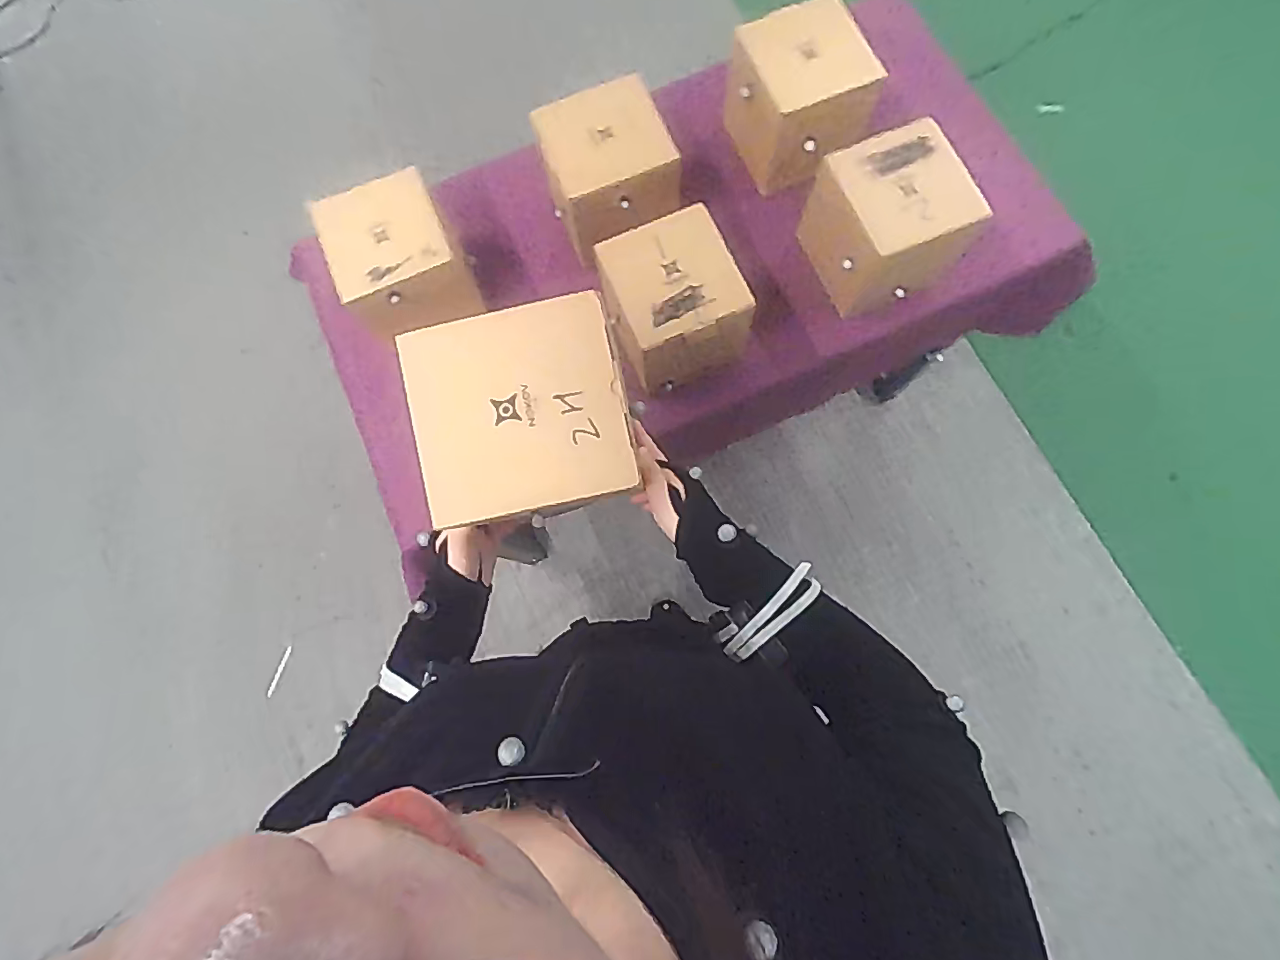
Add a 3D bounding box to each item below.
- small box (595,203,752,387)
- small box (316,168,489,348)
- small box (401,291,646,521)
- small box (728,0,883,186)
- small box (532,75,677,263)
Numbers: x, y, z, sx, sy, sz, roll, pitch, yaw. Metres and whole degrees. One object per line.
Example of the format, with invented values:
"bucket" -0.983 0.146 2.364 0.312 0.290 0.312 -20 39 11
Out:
"small box" 0.050 -0.258 0.804 0.168 0.176 0.179 -23 76 -2
"small box" -0.360 -0.333 0.846 0.168 0.176 0.179 -23 77 -2
"small box" -0.095 -0.056 0.519 0.179 0.176 0.168 -11 88 2
"small box" 0.253 -0.612 0.872 0.168 0.176 0.179 -22 77 -1
"small box" -0.048 -0.481 0.861 0.179 0.176 0.168 -21 78 -2
